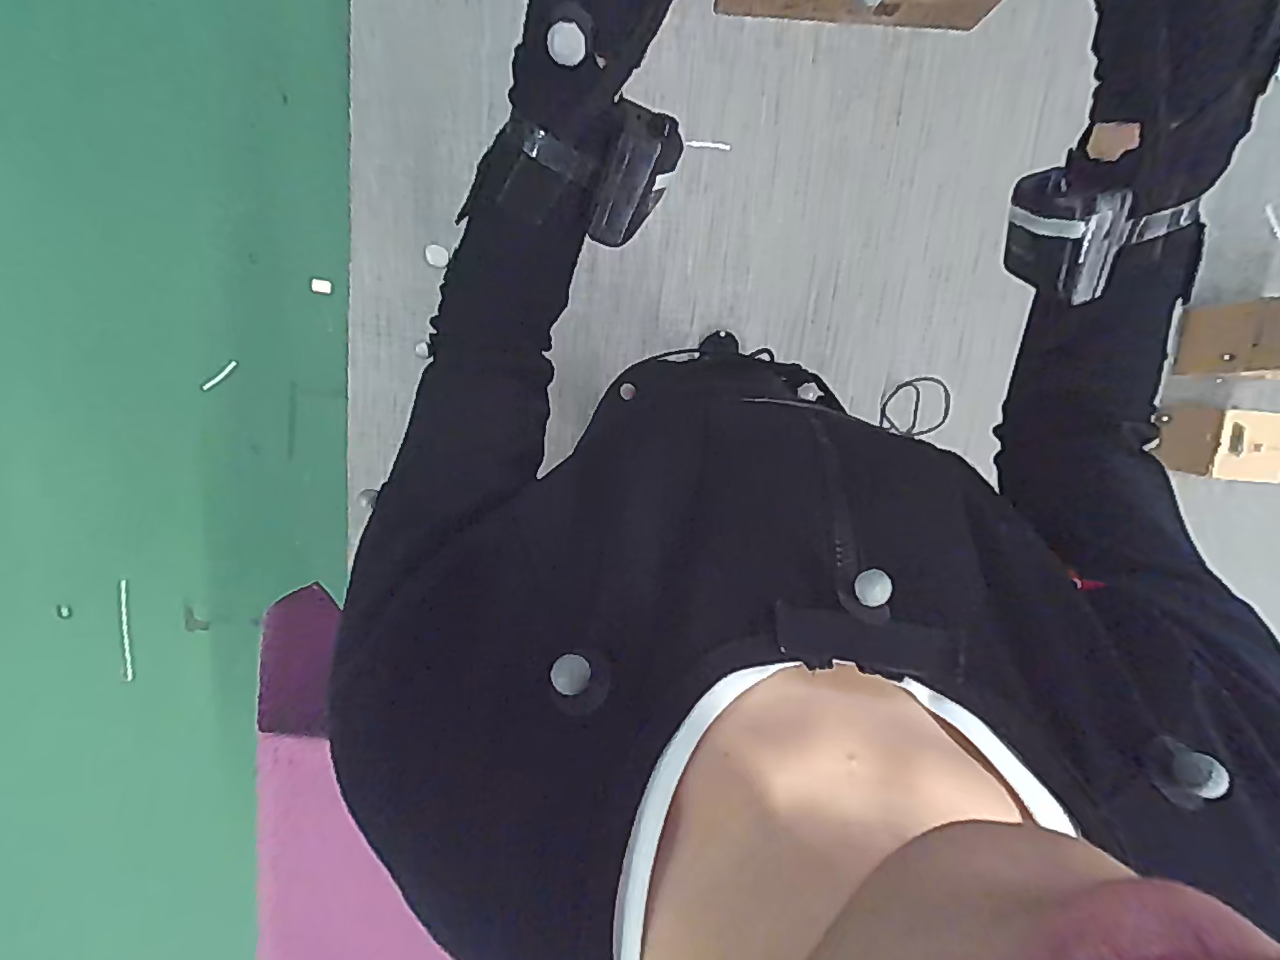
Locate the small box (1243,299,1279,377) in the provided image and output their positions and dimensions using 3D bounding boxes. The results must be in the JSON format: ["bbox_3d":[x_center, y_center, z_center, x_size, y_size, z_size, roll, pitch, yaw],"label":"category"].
[{"bbox_3d":[1.469,-0.302,1.144,0.179,0.176,0.168,6,100,-1],"label":"small box"}]

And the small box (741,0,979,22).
[{"bbox_3d":[0.134,-0.359,0.243,0.168,0.176,0.179,5,107,1],"label":"small box"}]

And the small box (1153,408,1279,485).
[{"bbox_3d":[1.447,-0.089,1.346,0.179,0.176,0.168,5,100,-1],"label":"small box"}]
